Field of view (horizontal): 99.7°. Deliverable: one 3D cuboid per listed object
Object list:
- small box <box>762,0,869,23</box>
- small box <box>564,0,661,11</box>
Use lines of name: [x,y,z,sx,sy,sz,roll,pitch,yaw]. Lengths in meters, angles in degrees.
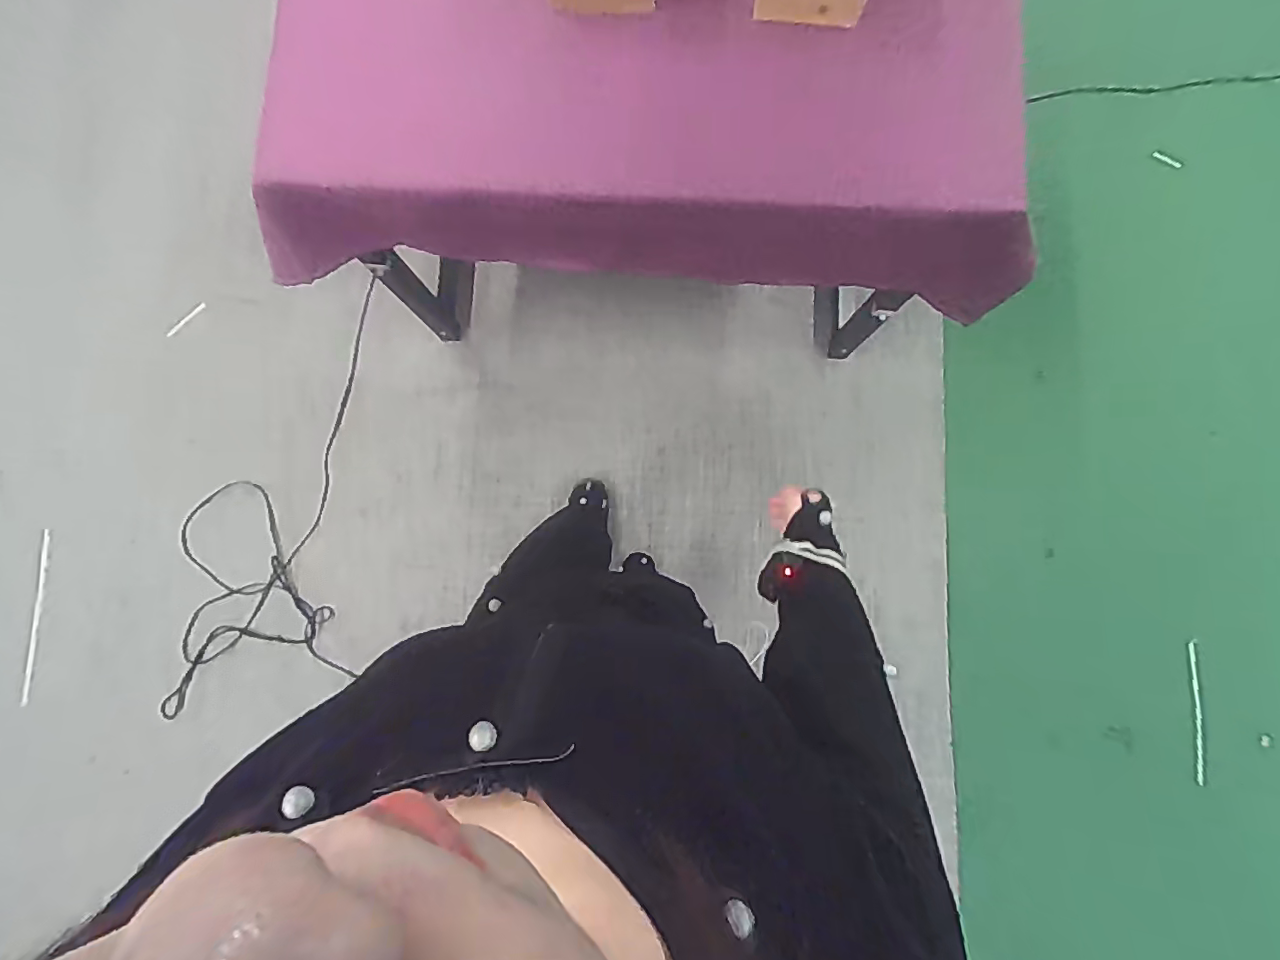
small box: [0.280,-0.825,0.795,0.168,0.176,0.179,6,83,2]
small box: [-0.048,-0.850,0.803,0.179,0.176,0.168,6,85,1]
